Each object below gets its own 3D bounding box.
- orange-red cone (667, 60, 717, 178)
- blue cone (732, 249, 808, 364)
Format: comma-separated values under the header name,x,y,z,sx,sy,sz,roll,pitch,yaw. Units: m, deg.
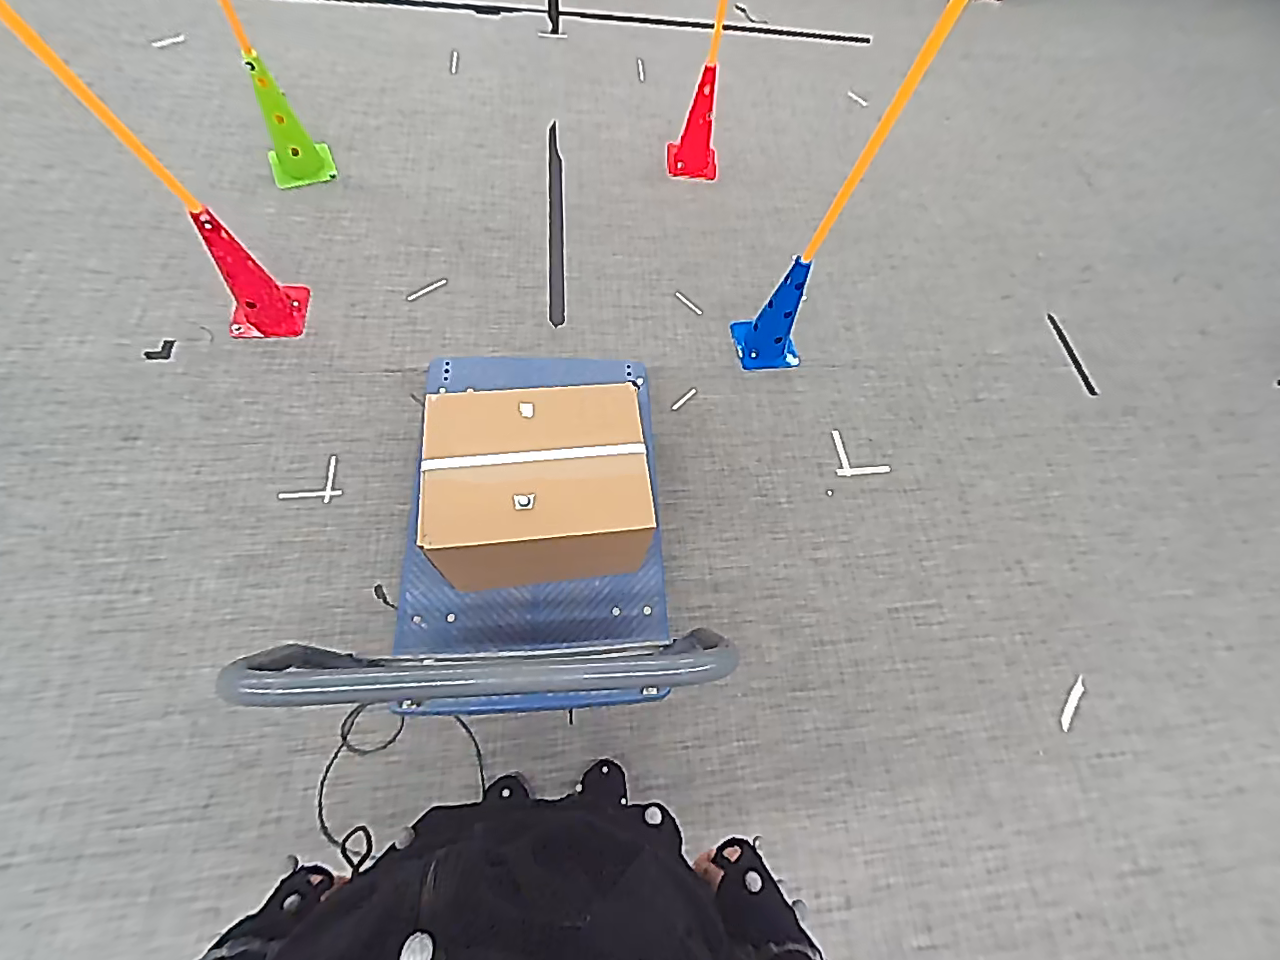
name,x,y,z,sx,sy,sz,roll,pitch,yaw
orange-red cone,0.227,-1.353,2.005,0.199,0.360,0.198,5,65,-6
blue cone,0.431,-0.536,1.657,0.193,0.380,0.192,-5,64,-10
